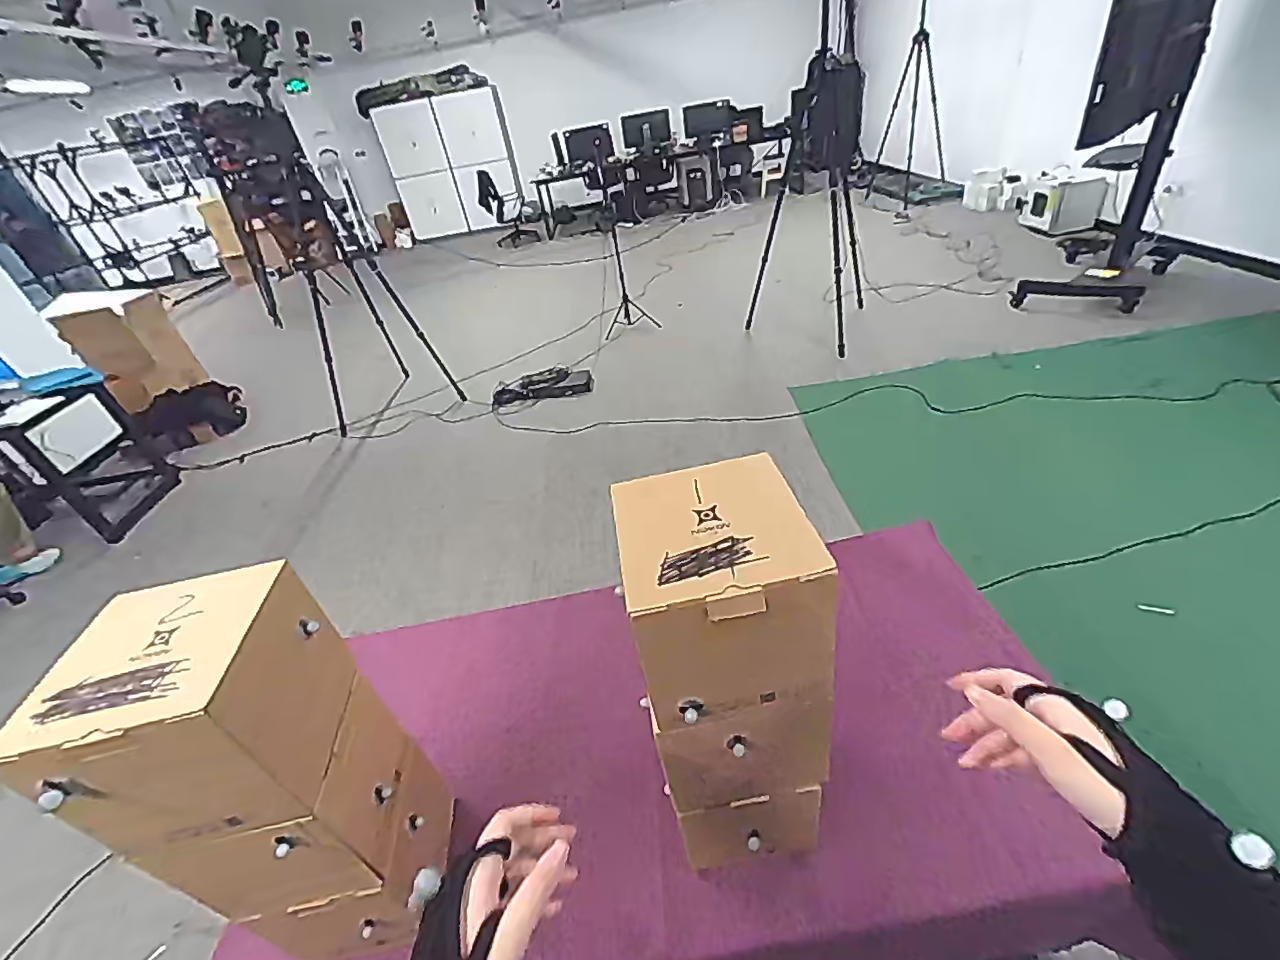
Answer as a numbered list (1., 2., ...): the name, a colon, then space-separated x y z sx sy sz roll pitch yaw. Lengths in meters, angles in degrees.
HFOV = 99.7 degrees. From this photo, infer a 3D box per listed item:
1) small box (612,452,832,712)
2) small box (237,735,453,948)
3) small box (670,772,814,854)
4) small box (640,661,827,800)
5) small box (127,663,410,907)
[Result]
1. small box: 0.073 0.101 0.525 0.168 0.176 0.179 -11 35 -1
2. small box: -0.358 0.470 0.700 0.168 0.176 0.179 -11 35 -2
3. small box: 0.121 0.366 0.716 0.168 0.176 0.179 -11 36 0
4. small box: 0.097 0.235 0.617 0.179 0.176 0.168 -11 36 -1
5. small box: -0.386 0.341 0.606 0.179 0.176 0.168 -12 36 -4
